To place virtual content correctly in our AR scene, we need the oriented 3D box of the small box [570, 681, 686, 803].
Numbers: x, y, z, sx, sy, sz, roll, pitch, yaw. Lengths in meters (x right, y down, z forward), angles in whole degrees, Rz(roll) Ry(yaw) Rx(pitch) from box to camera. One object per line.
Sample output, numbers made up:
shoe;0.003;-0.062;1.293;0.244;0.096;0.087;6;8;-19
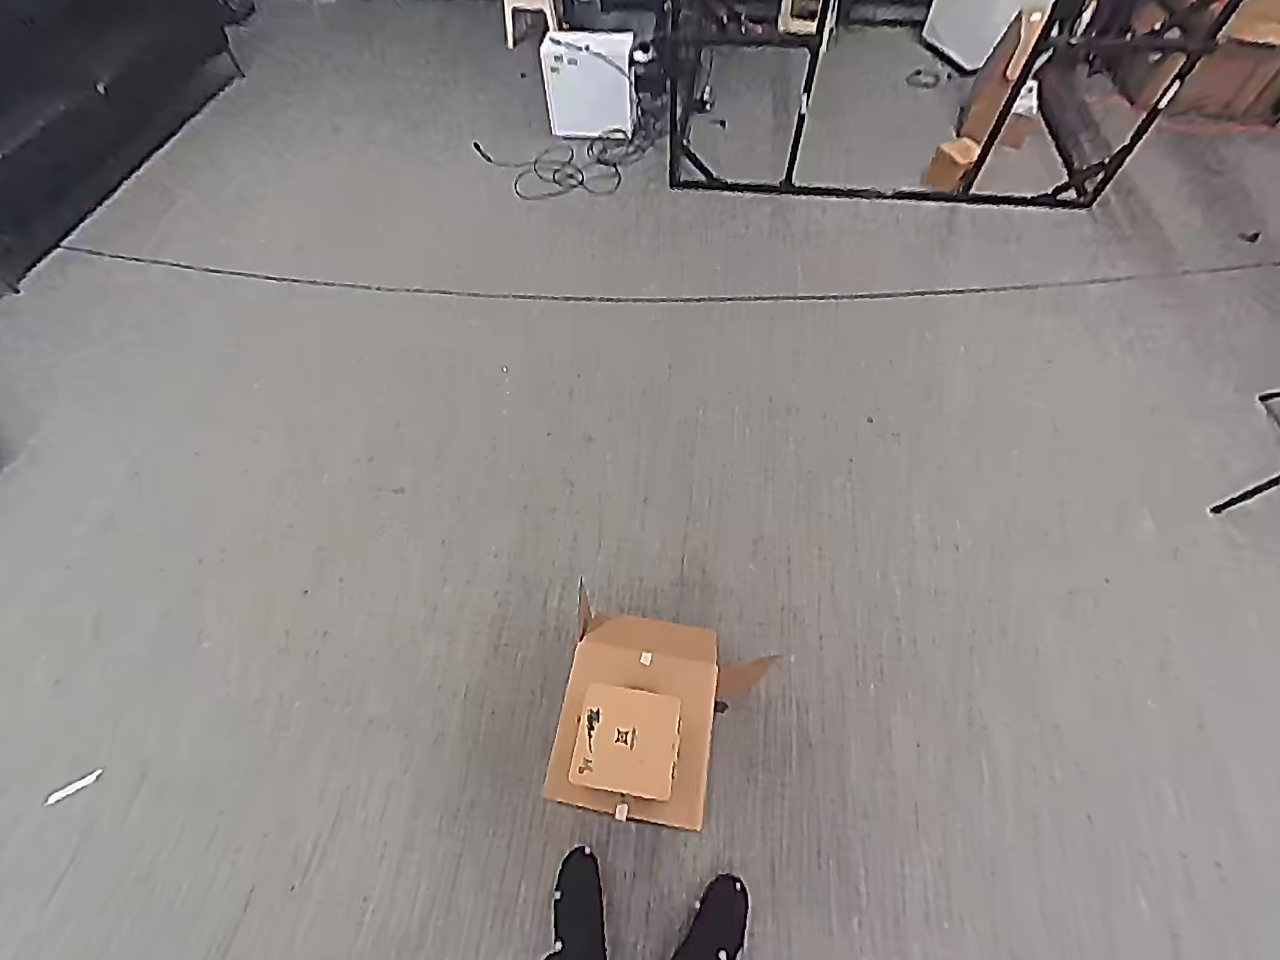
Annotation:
small box;-0.017;0.482;0.996;0.179;0.176;0.168;8;60;6
